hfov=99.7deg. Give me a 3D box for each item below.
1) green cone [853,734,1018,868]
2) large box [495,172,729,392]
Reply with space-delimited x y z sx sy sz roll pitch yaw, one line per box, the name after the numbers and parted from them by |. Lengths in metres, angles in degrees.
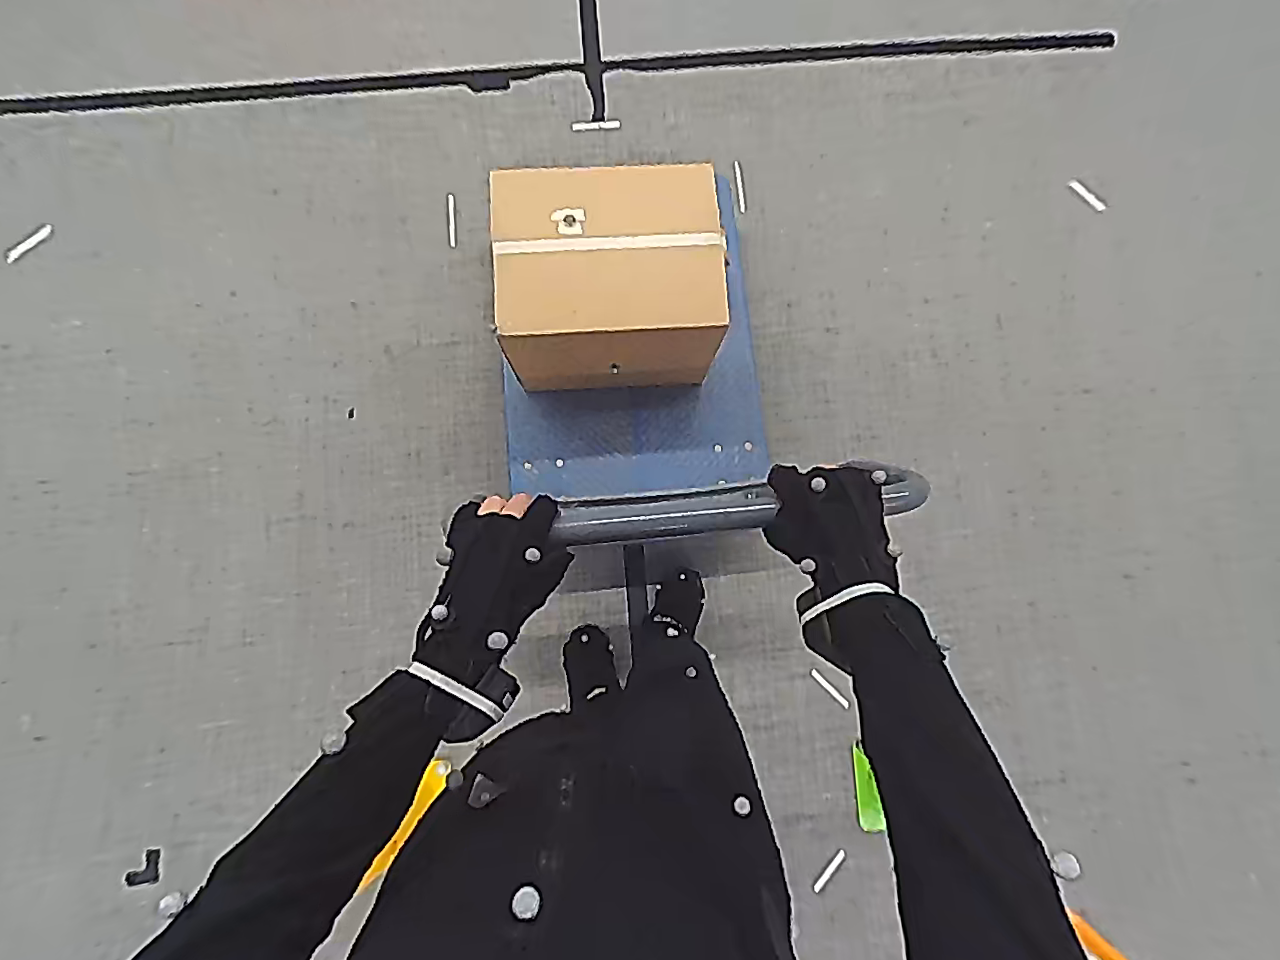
0.614 0.679 1.100 0.202 0.368 0.200 -1 81 -4 | green cone
-0.055 -0.378 1.104 0.408 0.320 0.320 -3 82 -2 | large box
